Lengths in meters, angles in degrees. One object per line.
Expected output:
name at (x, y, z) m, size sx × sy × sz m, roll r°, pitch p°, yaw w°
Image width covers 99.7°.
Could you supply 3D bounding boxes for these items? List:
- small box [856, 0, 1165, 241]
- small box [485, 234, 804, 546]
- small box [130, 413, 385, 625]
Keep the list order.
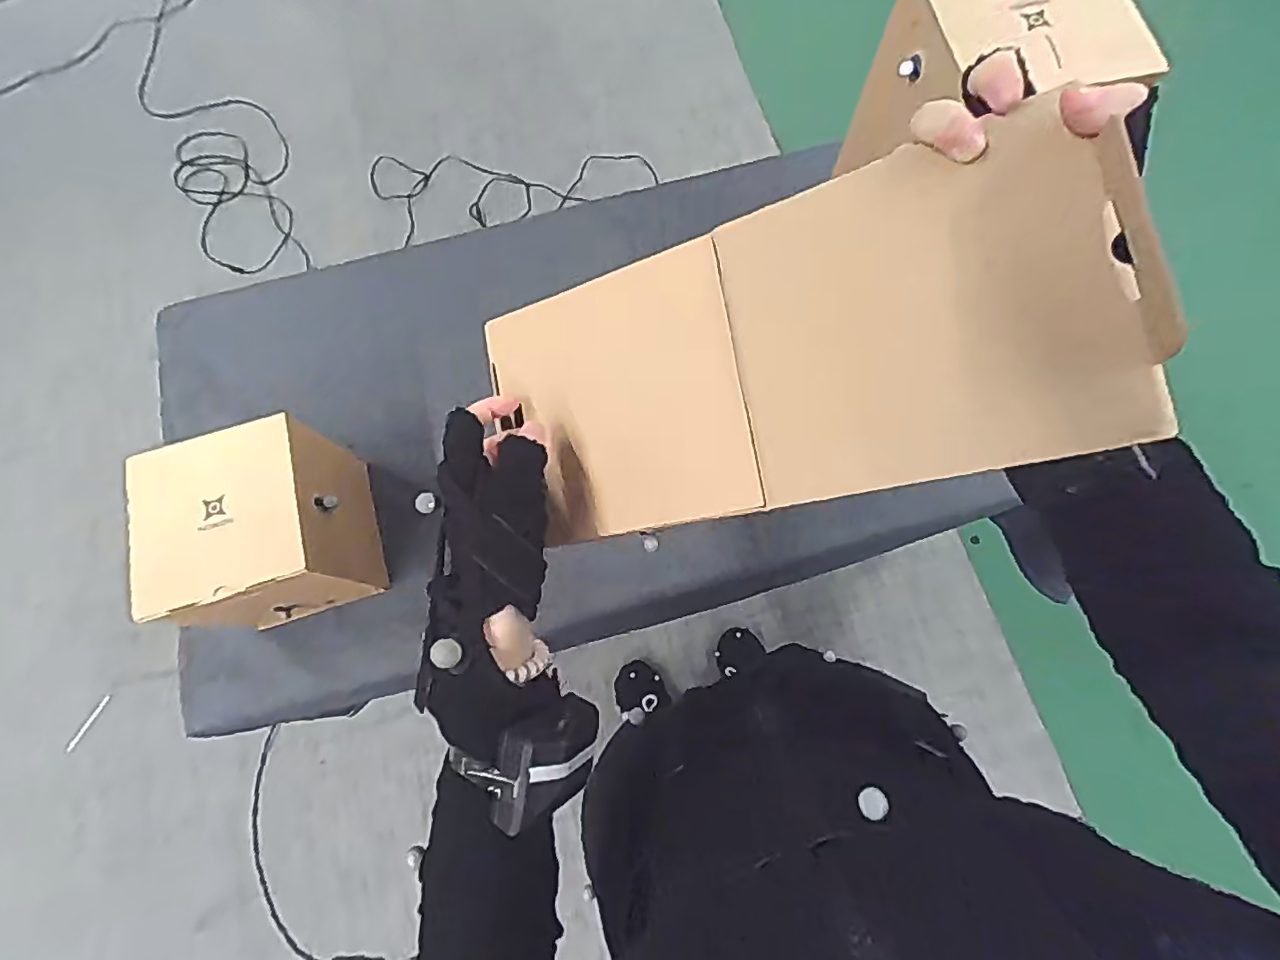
small box at (0.341, -0.377, 0.543) m, size 0.168 × 0.176 × 0.179 m, roll -10°, pitch 74°, yaw 0°
small box at (0.013, -0.046, 0.411) m, size 0.179 × 0.176 × 0.168 m, roll -12°, pitch 85°, yaw 24°
small box at (-0.416, 0.053, 0.610) m, size 0.168 × 0.176 × 0.179 m, roll -17°, pitch 74°, yaw -4°
